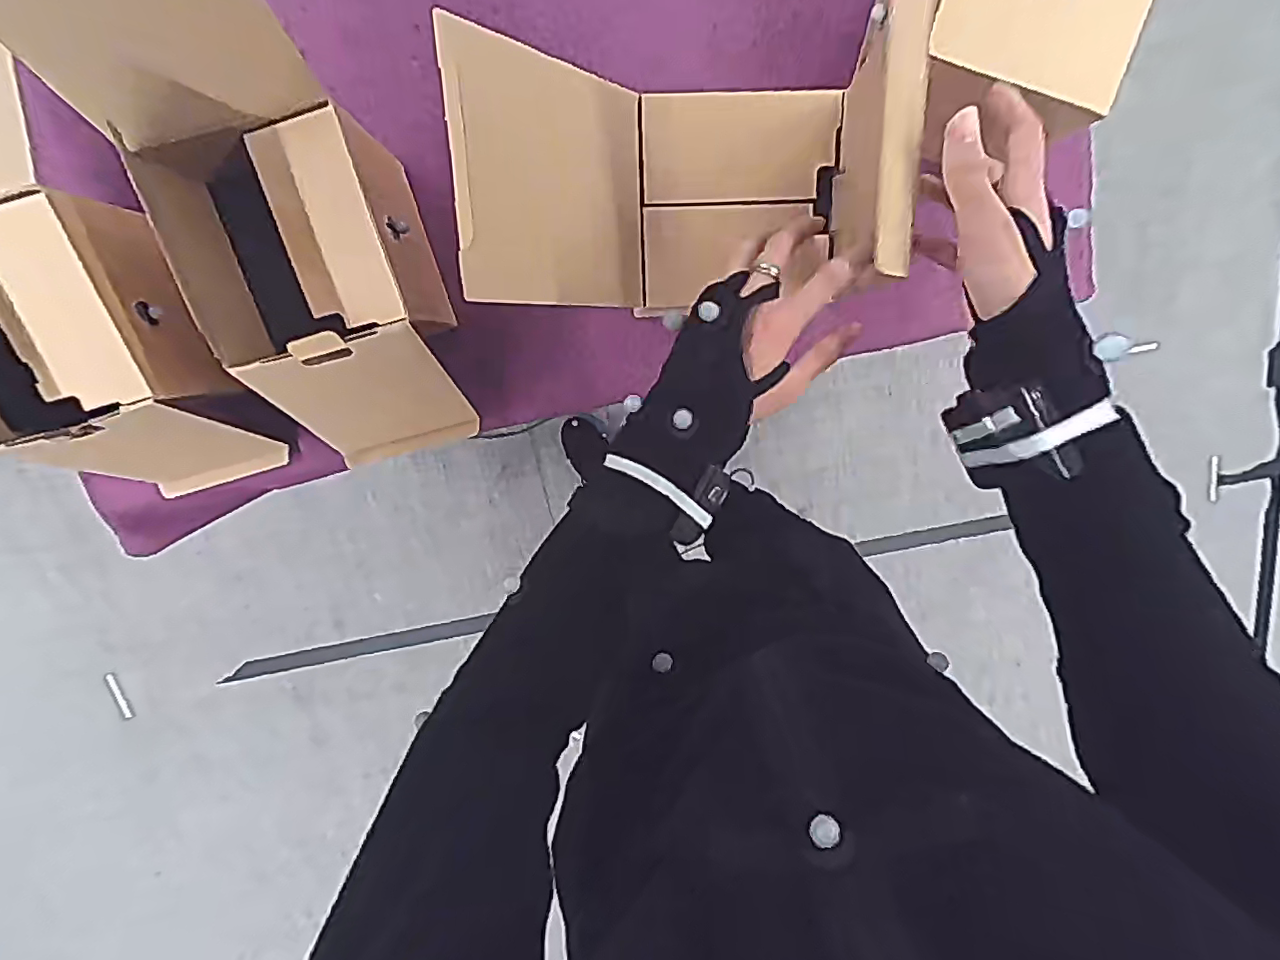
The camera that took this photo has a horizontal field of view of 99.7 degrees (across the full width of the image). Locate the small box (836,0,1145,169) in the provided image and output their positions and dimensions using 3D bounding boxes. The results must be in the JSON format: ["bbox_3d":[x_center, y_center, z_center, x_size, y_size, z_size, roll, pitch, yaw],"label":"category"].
[{"bbox_3d":[0.319,-0.419,0.506,0.179,0.176,0.168,13,103,-7],"label":"small box"}]
